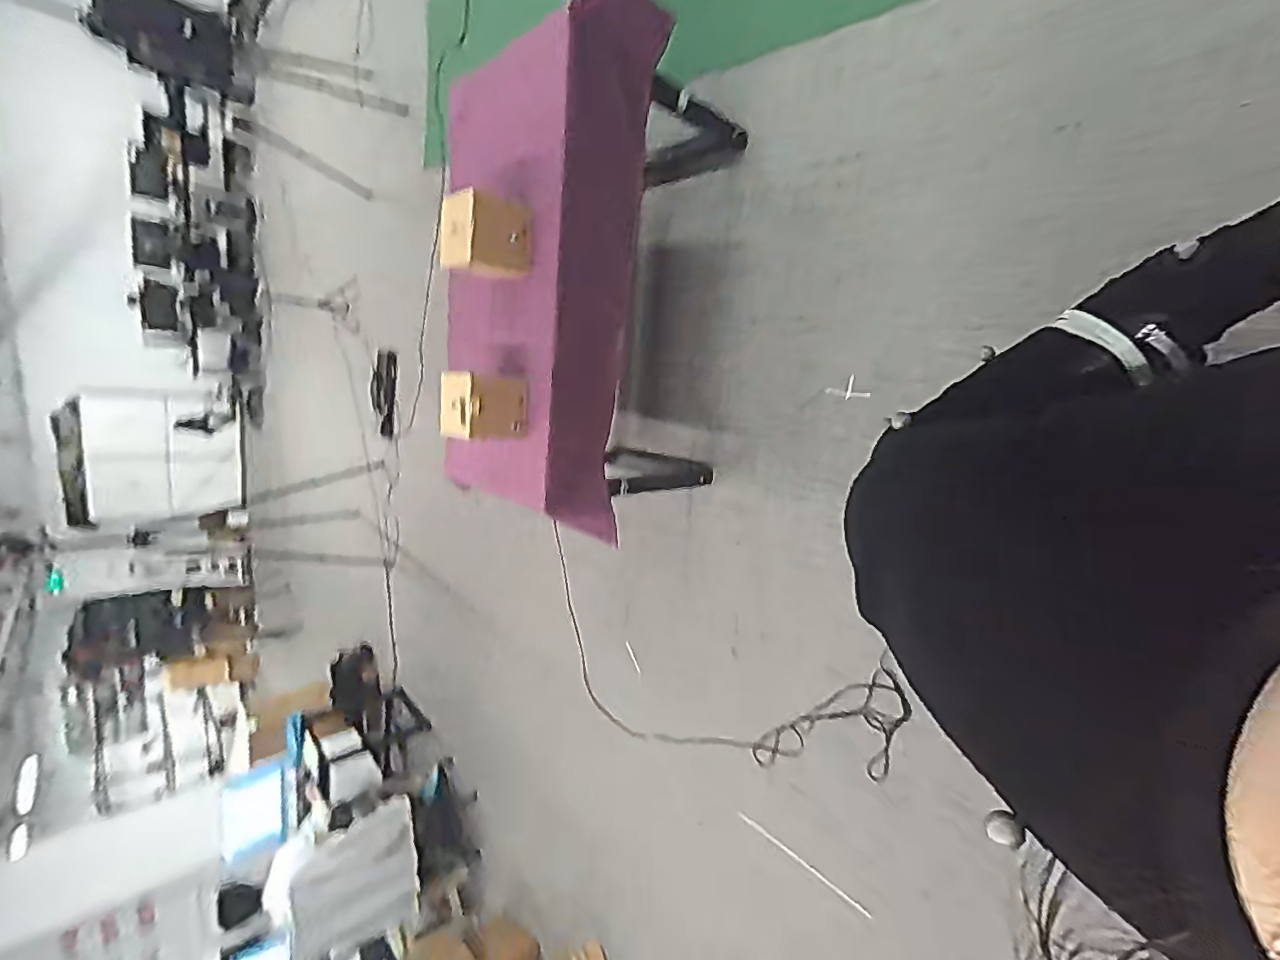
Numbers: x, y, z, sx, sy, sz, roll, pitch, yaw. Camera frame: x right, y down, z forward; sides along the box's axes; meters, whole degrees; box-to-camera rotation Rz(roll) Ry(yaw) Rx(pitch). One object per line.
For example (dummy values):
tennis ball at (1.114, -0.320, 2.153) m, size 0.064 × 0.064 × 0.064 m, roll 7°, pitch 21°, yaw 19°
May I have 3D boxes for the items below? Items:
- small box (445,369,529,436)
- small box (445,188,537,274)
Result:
small box at (-0.417, -0.211, 1.476) m, size 0.179 × 0.176 × 0.168 m, roll 14°, pitch 103°, yaw 46°
small box at (-0.390, -0.639, 1.410) m, size 0.179 × 0.176 × 0.168 m, roll 18°, pitch 107°, yaw 44°
